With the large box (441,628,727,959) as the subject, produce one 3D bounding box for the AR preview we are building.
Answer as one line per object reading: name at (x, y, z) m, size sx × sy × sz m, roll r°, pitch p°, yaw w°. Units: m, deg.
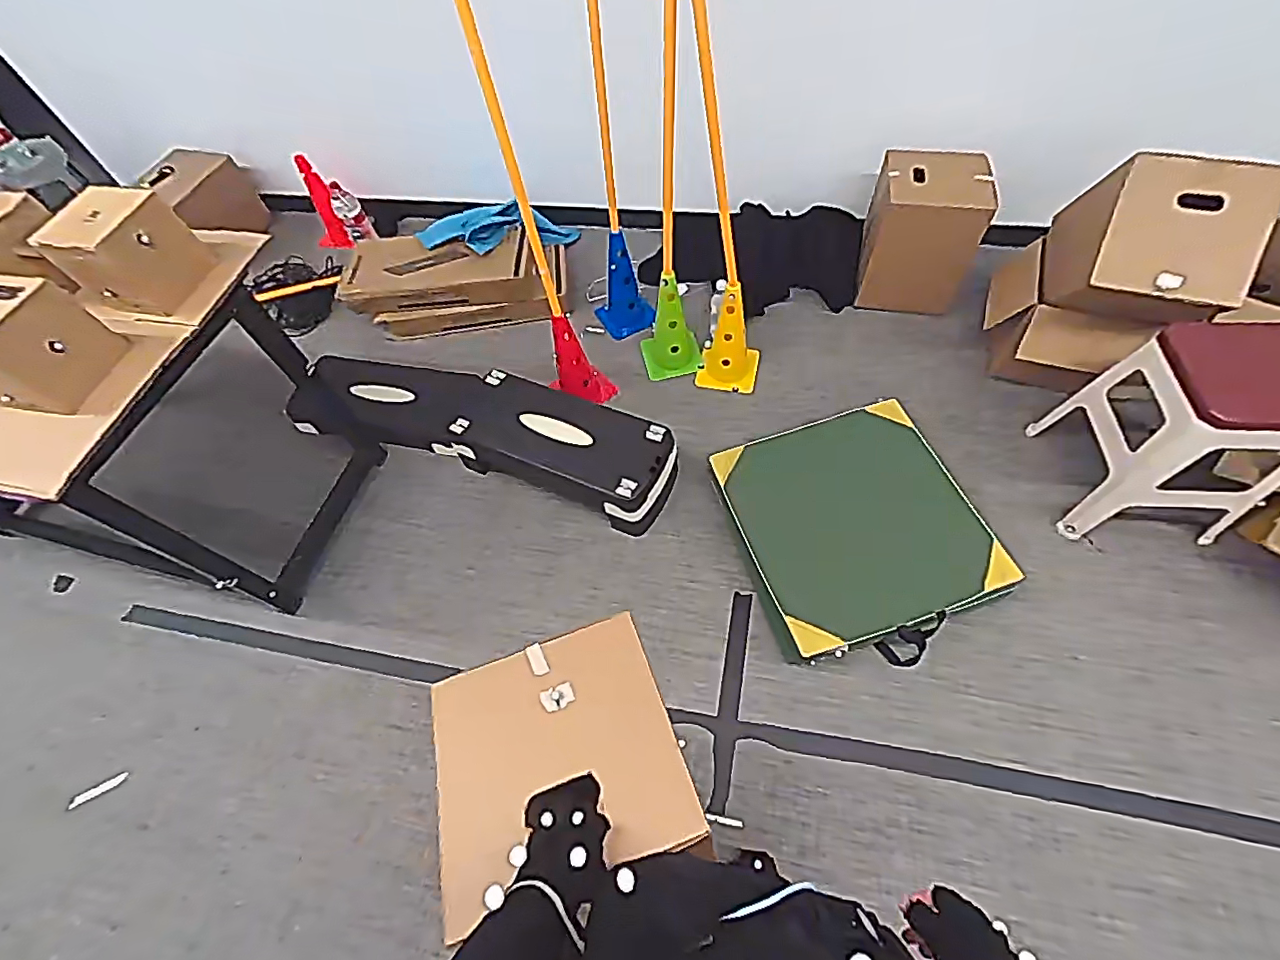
large box at (-0.075, 0.498, 0.847) m, size 0.320 × 0.408 × 0.320 m, roll -19°, pitch 47°, yaw -6°
